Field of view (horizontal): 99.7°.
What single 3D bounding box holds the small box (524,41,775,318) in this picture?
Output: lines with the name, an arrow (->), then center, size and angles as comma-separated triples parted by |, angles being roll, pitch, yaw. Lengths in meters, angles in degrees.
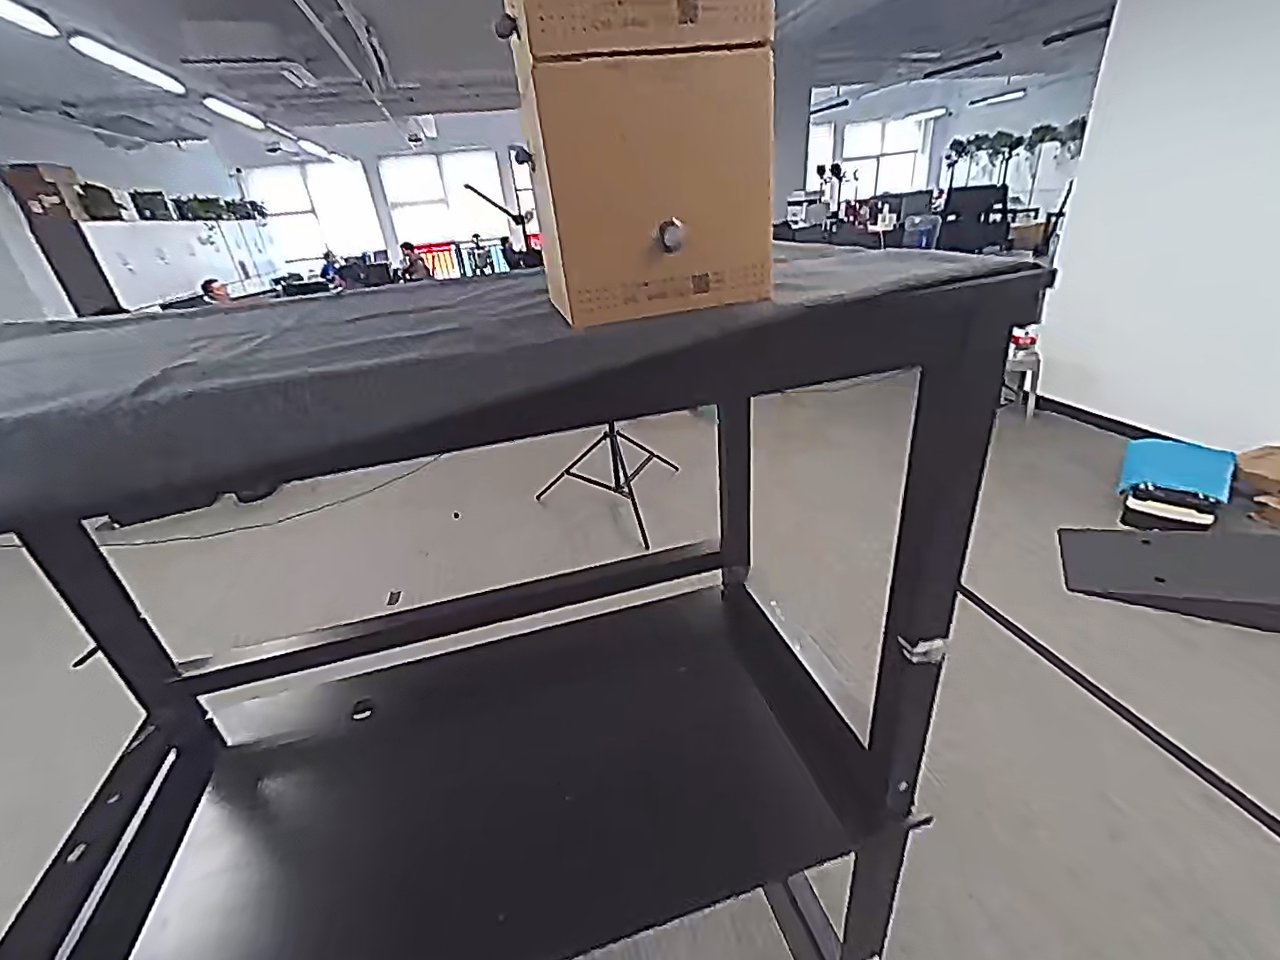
small box -> 0.001, -0.240, 0.460 | 0.168, 0.176, 0.179 | -12, 27, -10

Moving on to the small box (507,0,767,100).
small box -> -0.014, -0.387, 0.389 | 0.168, 0.176, 0.179 | -11, 27, -9
